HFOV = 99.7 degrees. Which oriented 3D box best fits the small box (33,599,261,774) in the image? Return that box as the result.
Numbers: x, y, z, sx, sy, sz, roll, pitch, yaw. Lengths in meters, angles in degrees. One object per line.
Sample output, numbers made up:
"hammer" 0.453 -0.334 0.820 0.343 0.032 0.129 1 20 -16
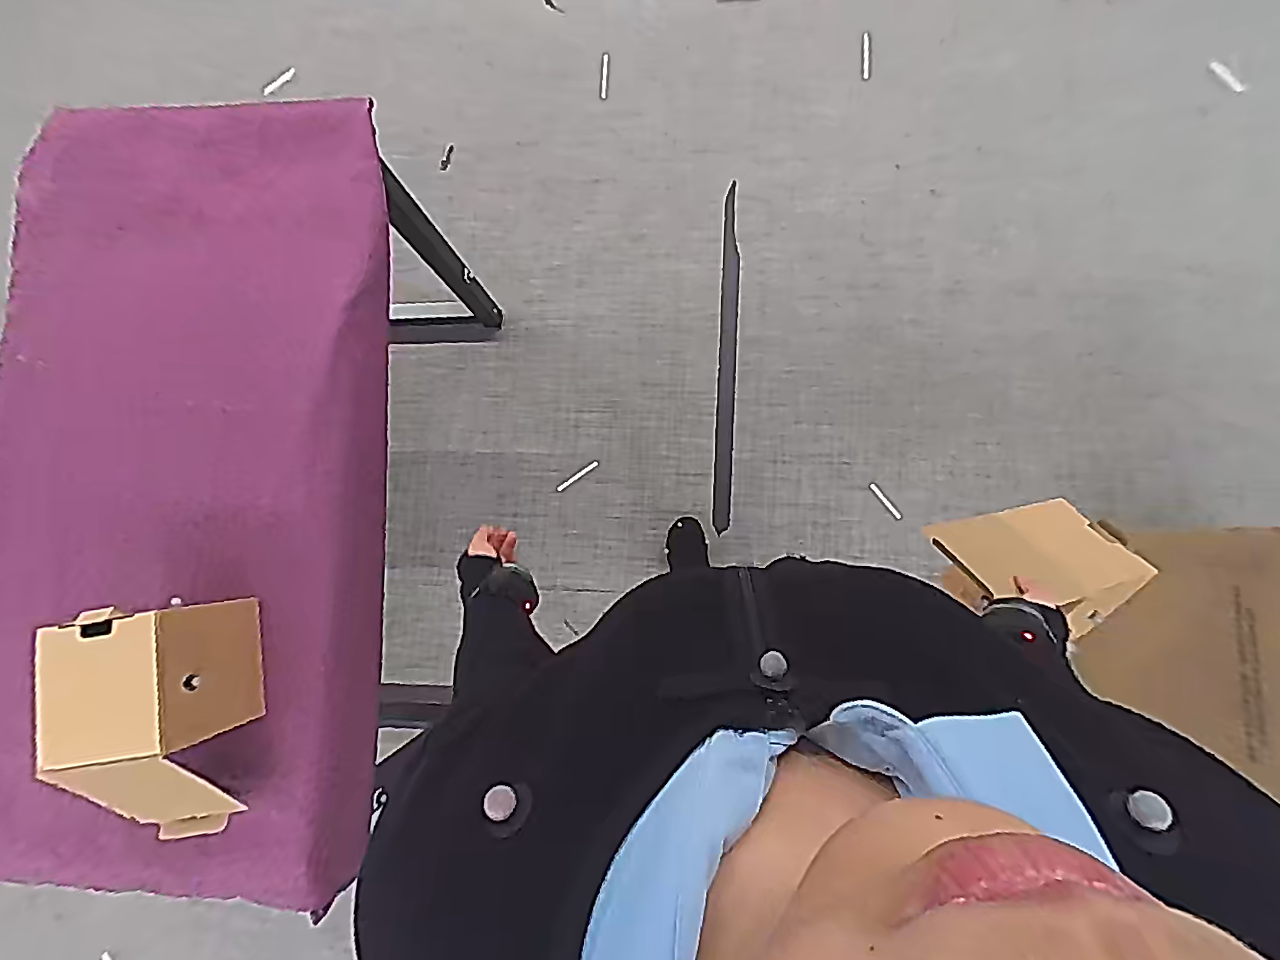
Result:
"small box" -0.653 0.267 0.736 0.168 0.176 0.179 -9 82 3
